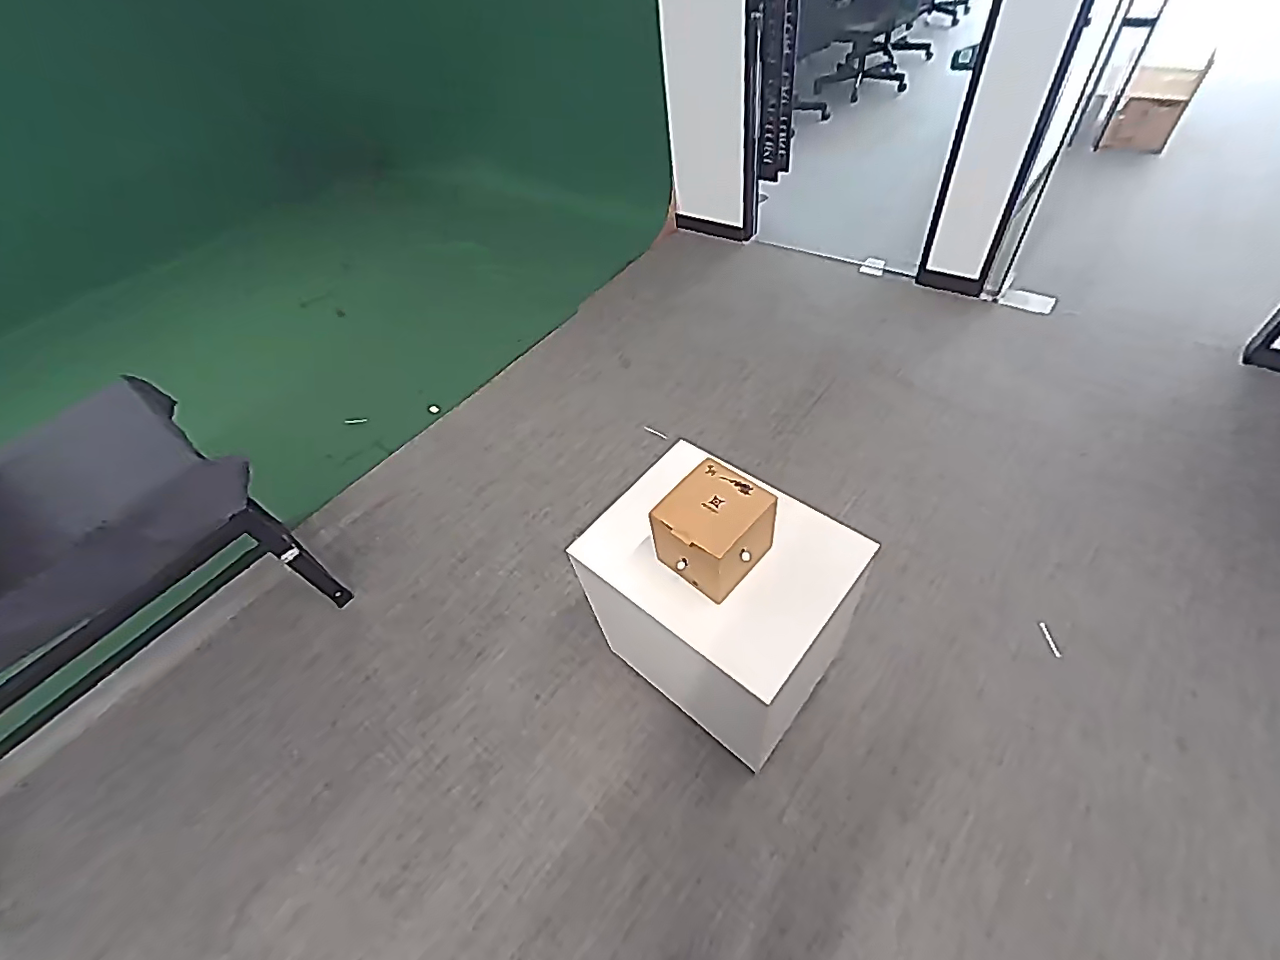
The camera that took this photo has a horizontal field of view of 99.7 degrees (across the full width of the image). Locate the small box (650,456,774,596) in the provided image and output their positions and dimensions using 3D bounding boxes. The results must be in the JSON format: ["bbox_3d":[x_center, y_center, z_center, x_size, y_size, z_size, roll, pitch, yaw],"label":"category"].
[{"bbox_3d":[0.143,0.092,1.050,0.168,0.176,0.179,31,61,30],"label":"small box"}]
